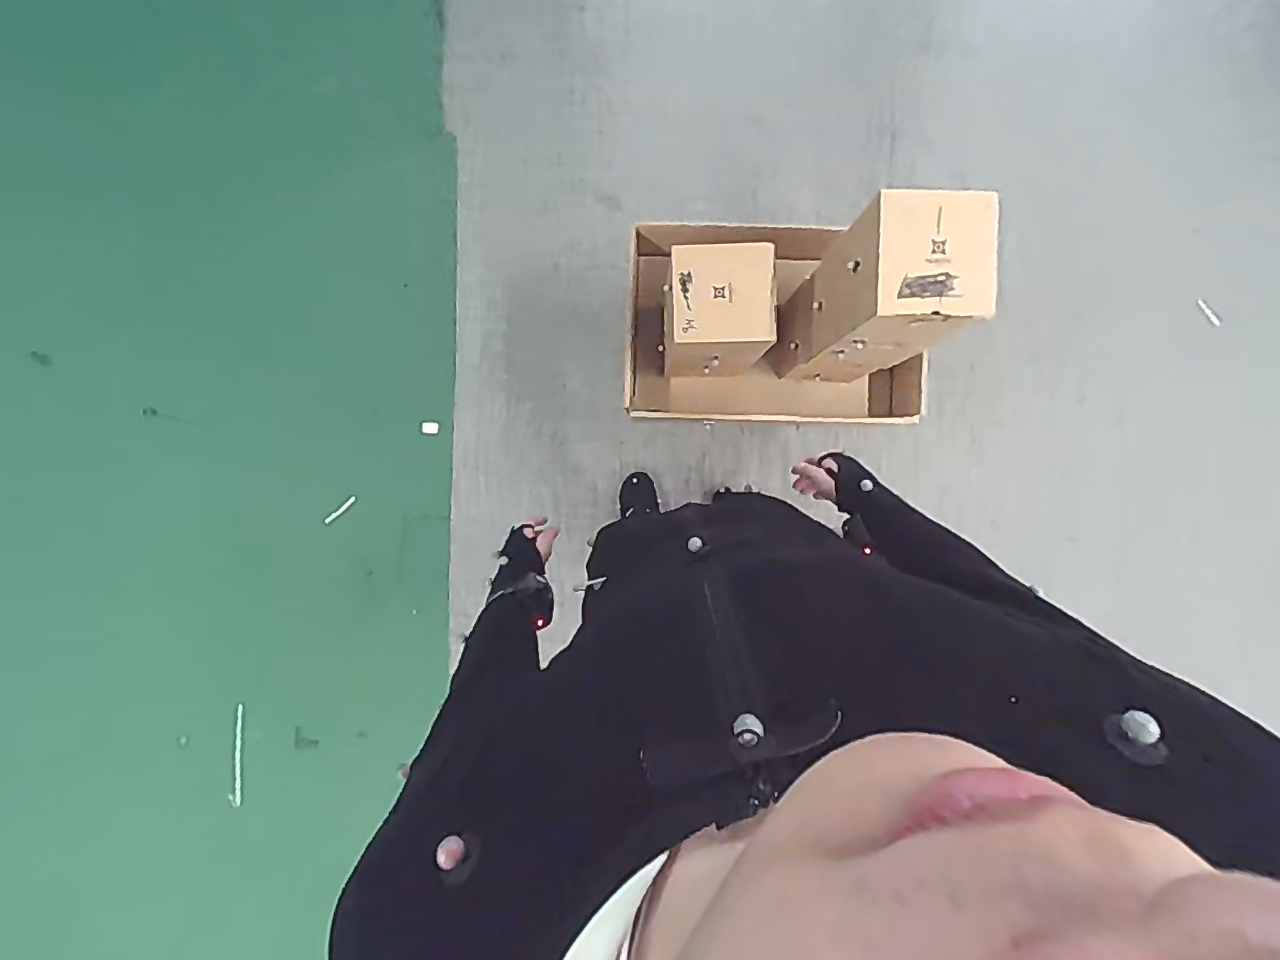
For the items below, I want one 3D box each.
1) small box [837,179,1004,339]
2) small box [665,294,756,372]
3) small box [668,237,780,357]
[{"bbox_3d":[0.407,-0.318,0.812,0.168,0.176,0.179,2,90,0],"label":"small box"},{"bbox_3d":[0.144,-0.326,1.142,0.179,0.176,0.168,1,91,-1],"label":"small box"},{"bbox_3d":[0.144,-0.323,0.978,0.179,0.176,0.168,-1,91,0],"label":"small box"}]
